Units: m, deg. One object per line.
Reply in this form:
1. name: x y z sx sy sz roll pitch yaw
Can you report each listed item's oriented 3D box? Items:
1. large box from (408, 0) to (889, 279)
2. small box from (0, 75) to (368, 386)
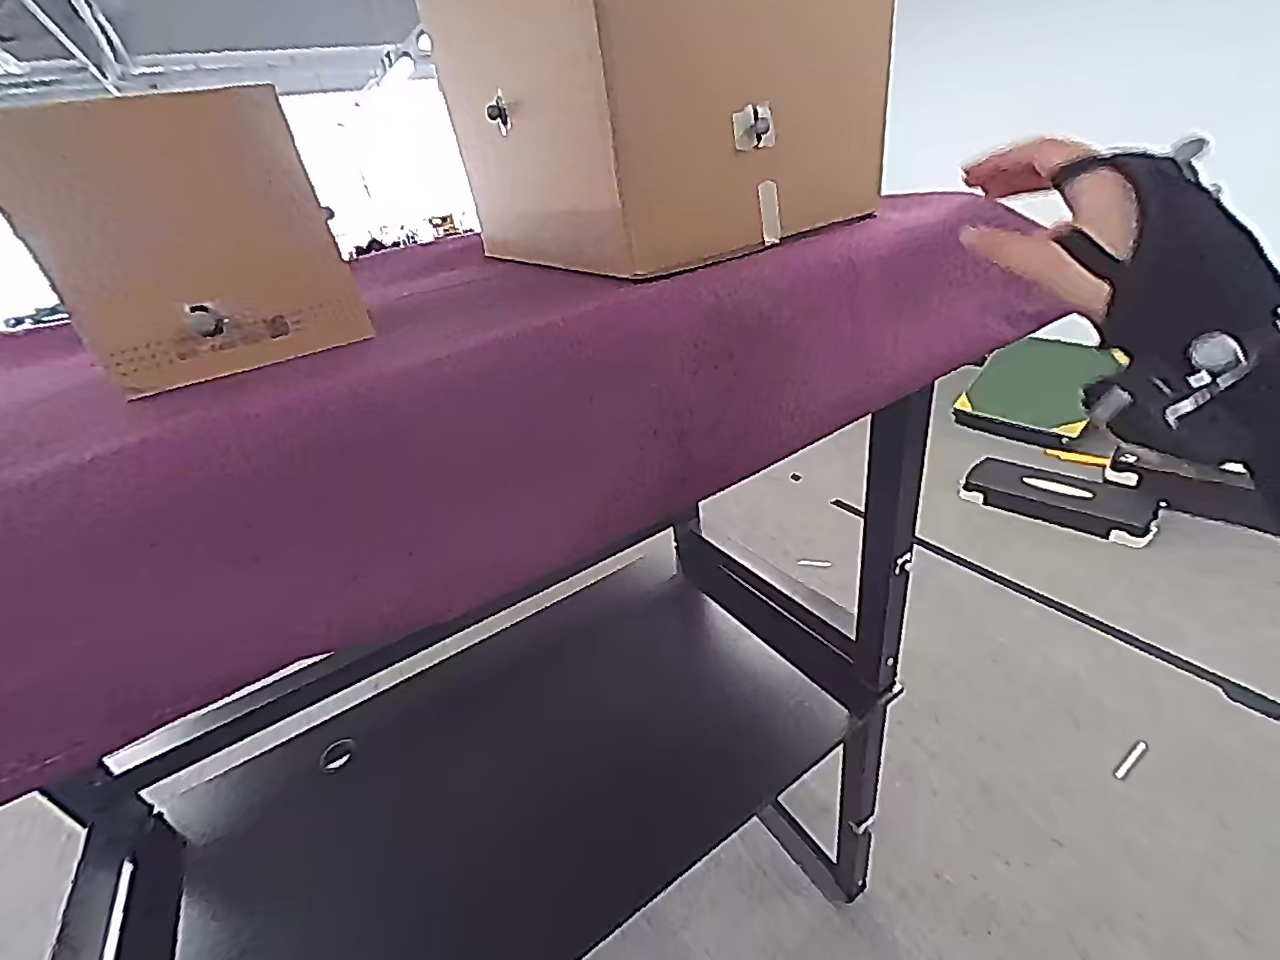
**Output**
1. large box: -0.006 -0.415 0.572 0.320 0.320 0.408 -24 32 -24
2. small box: -0.332 -0.185 0.415 0.168 0.176 0.179 -25 34 -22
